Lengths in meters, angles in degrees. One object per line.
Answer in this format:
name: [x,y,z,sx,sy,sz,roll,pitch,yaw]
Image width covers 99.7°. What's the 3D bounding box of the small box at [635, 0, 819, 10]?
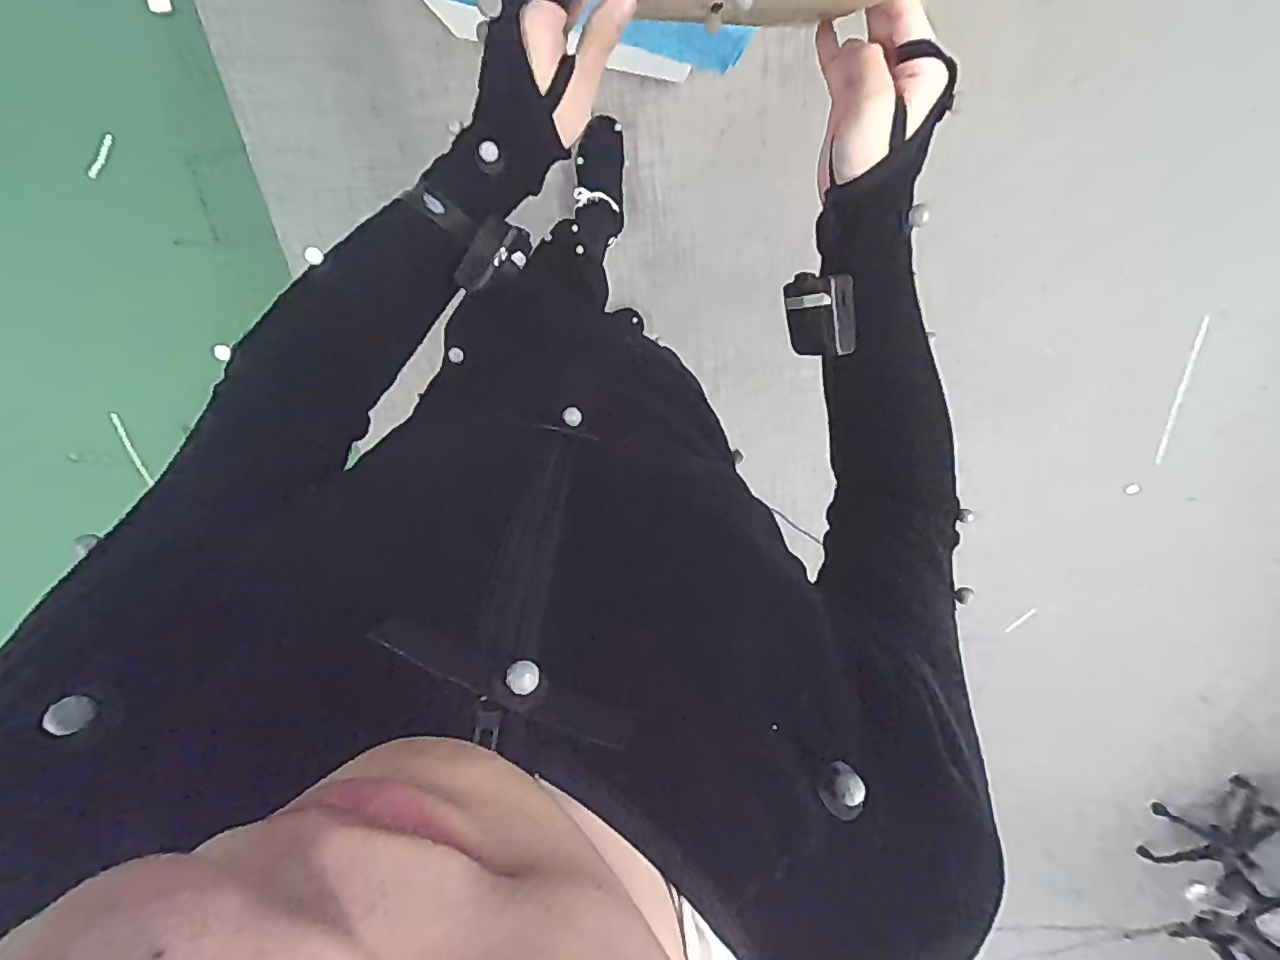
small box: [0.068,-0.424,0.350,0.179,0.176,0.168,2,126,-1]
